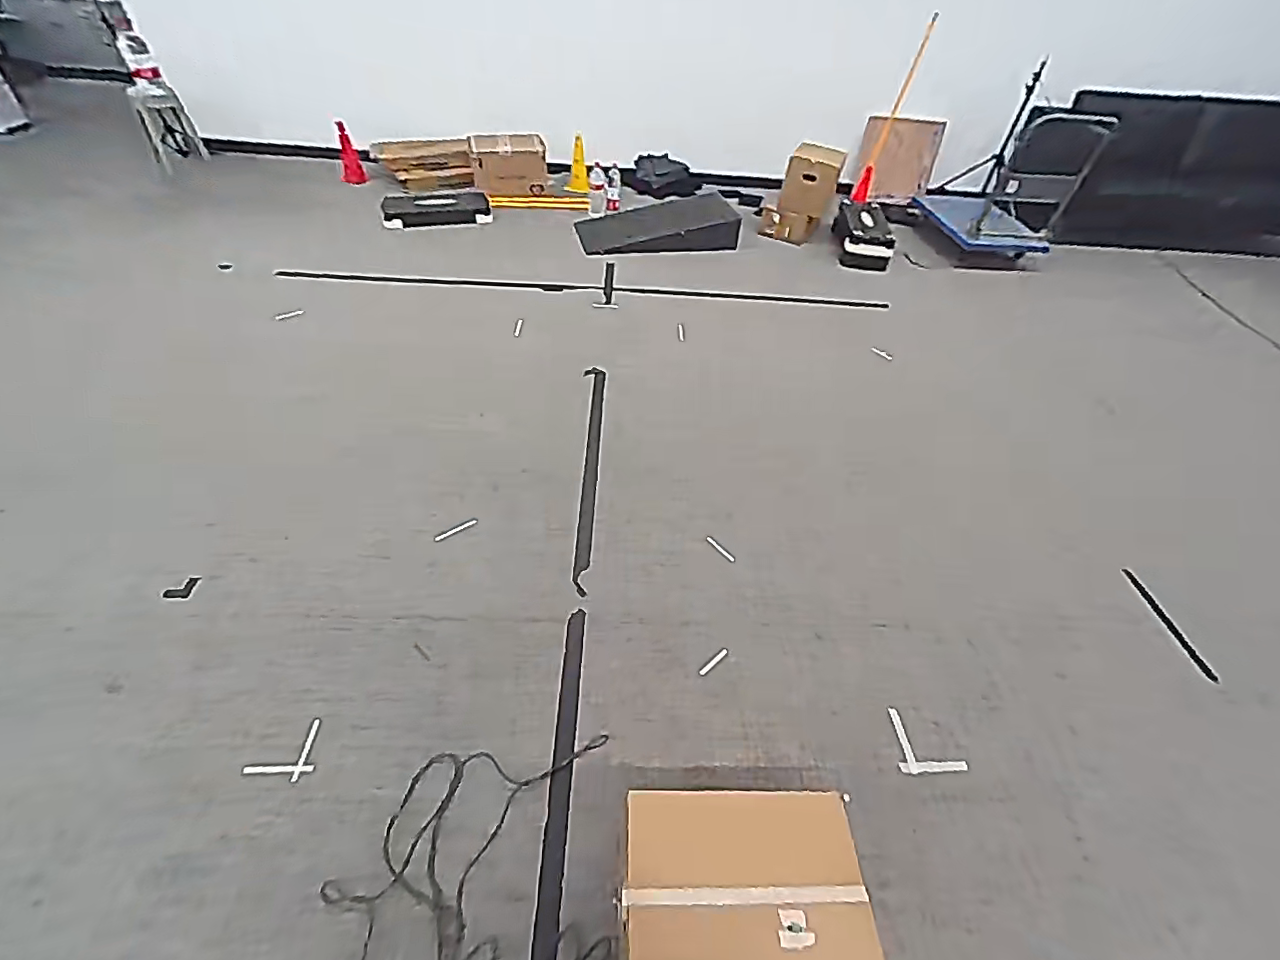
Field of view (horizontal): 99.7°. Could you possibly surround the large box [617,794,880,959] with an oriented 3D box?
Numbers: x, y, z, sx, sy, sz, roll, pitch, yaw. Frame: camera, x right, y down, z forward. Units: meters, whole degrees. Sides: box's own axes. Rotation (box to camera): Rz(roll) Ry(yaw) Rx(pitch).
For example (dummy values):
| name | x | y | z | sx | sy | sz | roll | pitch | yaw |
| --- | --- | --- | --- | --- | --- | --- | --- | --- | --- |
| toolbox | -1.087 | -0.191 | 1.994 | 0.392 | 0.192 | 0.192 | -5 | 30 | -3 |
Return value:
| name | x | y | z | sx | sy | sz | roll | pitch | yaw |
| --- | --- | --- | --- | --- | --- | --- | --- | --- | --- |
| large box | 0.166 | 0.798 | 0.997 | 0.408 | 0.320 | 0.320 | 3 | 45 | -4 |
